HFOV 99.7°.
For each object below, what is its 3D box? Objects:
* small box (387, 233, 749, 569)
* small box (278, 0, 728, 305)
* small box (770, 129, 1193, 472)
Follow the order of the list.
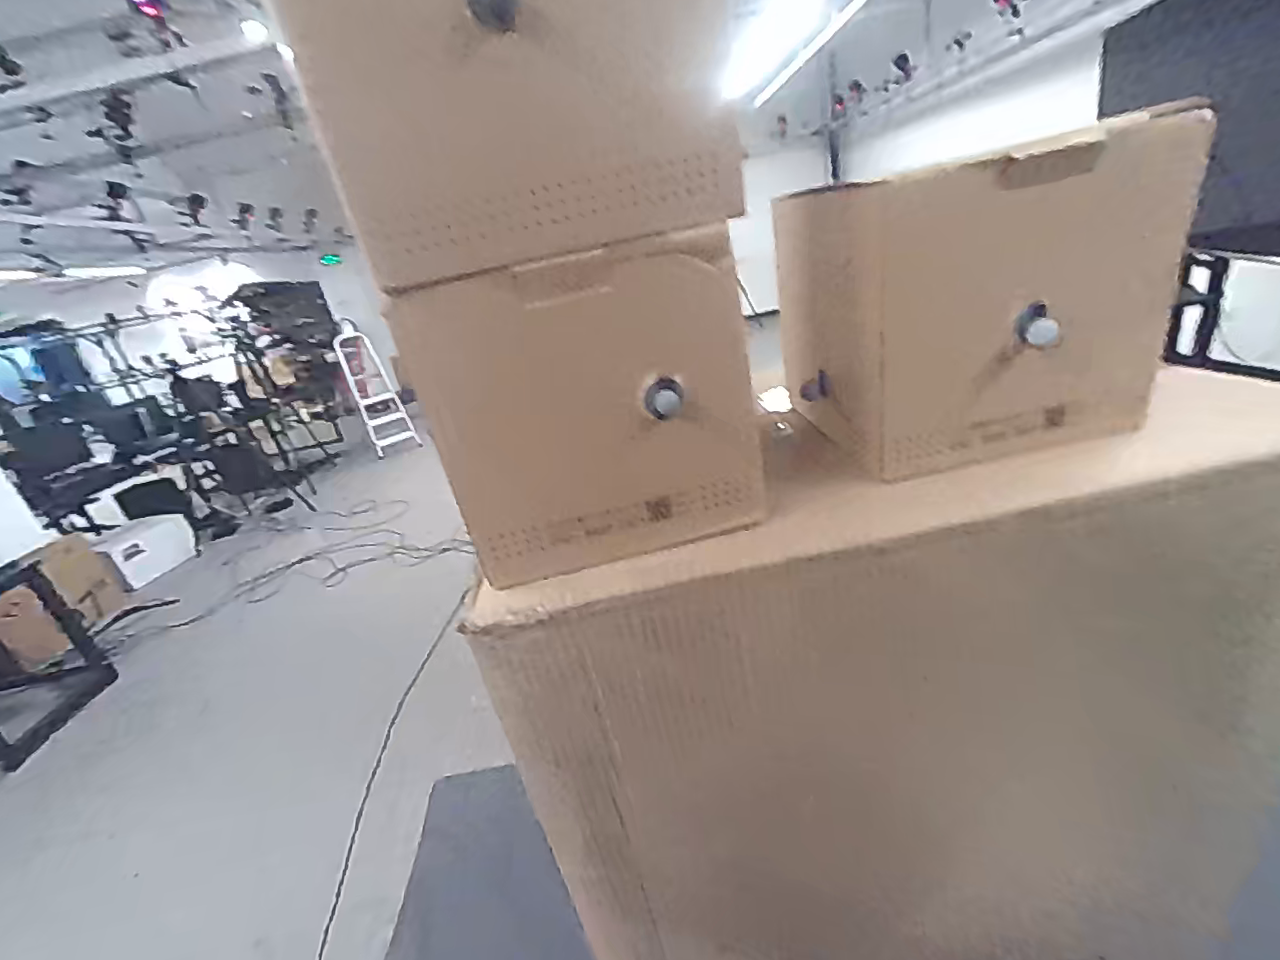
[{"bbox_3d":[-0.034,-0.056,0.360,0.168,0.176,0.179,-13,24,-3],"label":"small box"},{"bbox_3d":[-0.061,-0.200,0.285,0.179,0.176,0.168,-15,26,-10],"label":"small box"},{"bbox_3d":[0.201,-0.116,0.374,0.168,0.176,0.179,-12,26,0],"label":"small box"}]
